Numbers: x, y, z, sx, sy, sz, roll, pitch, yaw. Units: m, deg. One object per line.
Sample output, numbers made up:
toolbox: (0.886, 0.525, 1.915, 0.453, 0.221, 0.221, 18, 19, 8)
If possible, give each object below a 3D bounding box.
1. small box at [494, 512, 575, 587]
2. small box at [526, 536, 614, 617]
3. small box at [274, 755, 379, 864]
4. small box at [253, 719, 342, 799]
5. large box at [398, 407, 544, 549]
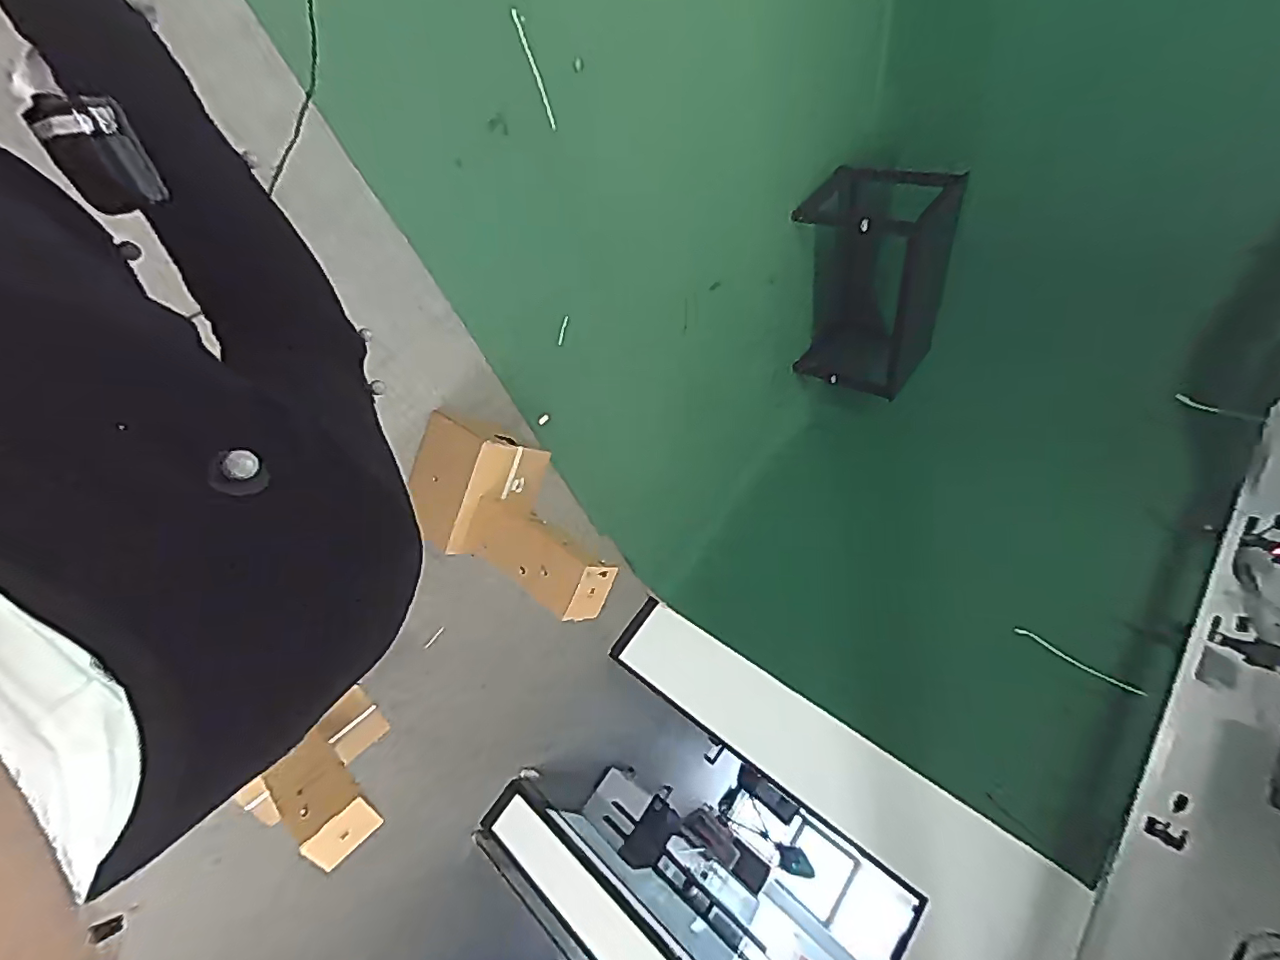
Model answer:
small box: (-0.336, 0.223, 1.717, 0.168, 0.176, 0.179, 16, 101, -57)
small box: (-0.216, 0.289, 1.626, 0.168, 0.176, 0.179, 16, 101, -57)
small box: (-0.866, 0.901, 1.494, 0.168, 0.176, 0.179, -37, 139, -33)
small box: (-0.988, 0.843, 1.585, 0.168, 0.176, 0.179, -36, 138, -34)
large box: (-0.608, -0.004, 1.937, 0.320, 0.320, 0.408, 6, 107, -57)
